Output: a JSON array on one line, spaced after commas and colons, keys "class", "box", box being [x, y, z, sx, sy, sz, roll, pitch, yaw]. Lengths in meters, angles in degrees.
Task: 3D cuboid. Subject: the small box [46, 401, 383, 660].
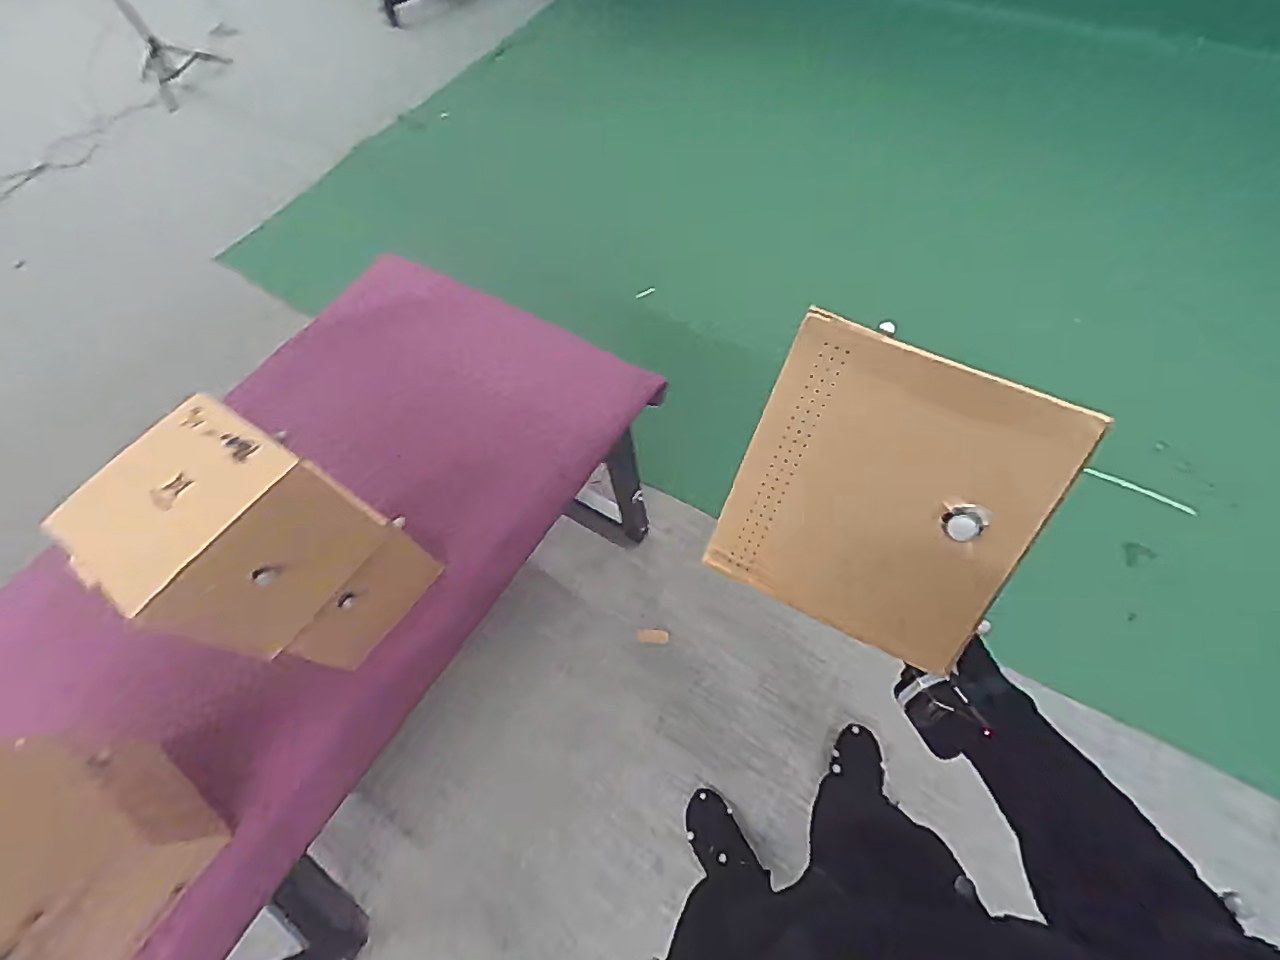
[{"class": "small box", "box": [-0.410, 0.059, 0.553, 0.168, 0.176, 0.179, 28, 68, 20]}]

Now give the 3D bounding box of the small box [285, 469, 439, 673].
[{"class": "small box", "box": [-0.401, 0.125, 0.704, 0.168, 0.176, 0.179, 30, 67, 20]}]

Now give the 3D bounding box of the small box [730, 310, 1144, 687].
[{"class": "small box", "box": [0.171, -0.002, 0.382, 0.176, 0.168, 0.179, 24, 110, 11]}]
